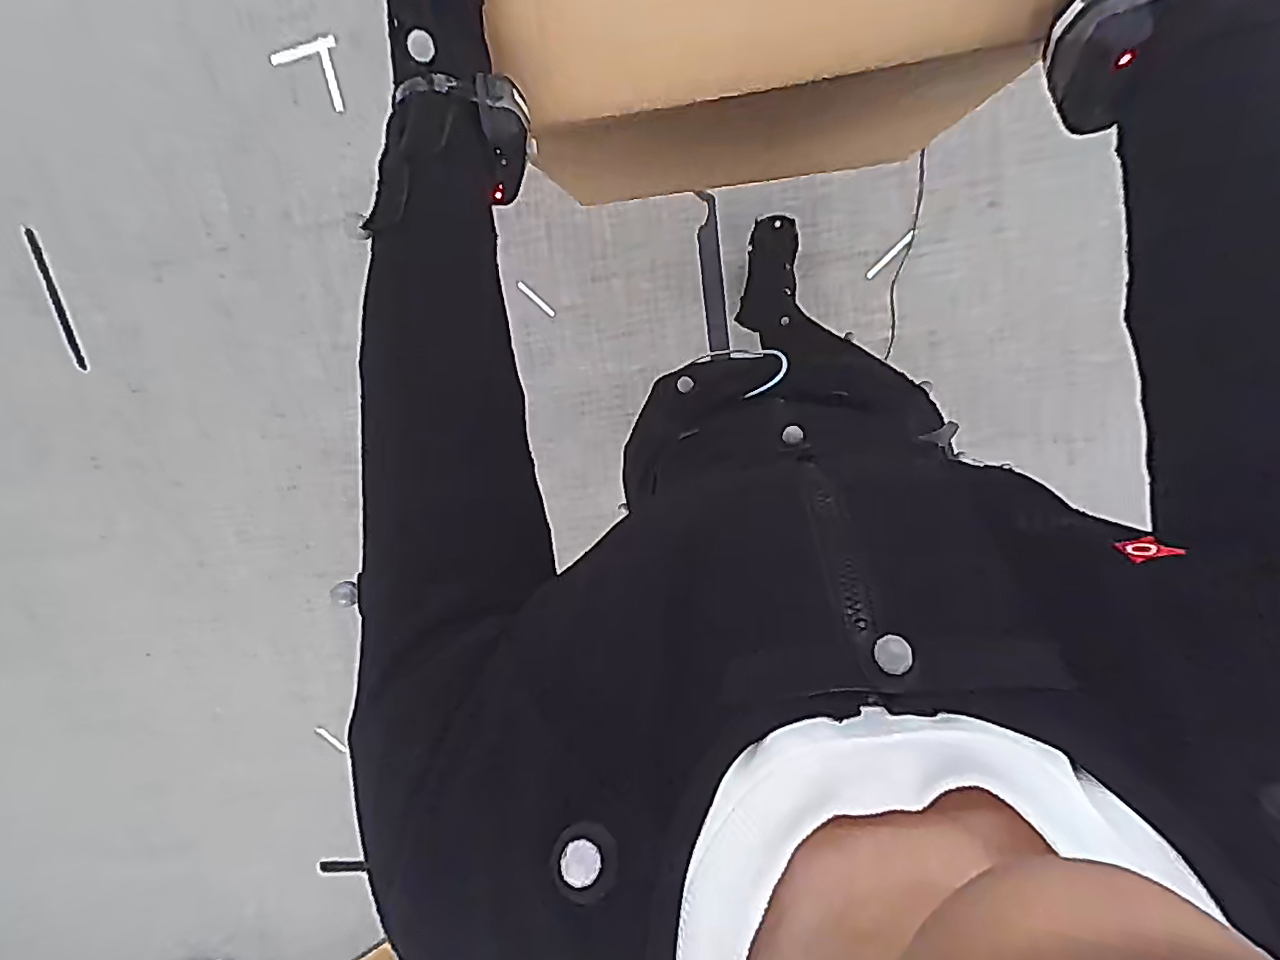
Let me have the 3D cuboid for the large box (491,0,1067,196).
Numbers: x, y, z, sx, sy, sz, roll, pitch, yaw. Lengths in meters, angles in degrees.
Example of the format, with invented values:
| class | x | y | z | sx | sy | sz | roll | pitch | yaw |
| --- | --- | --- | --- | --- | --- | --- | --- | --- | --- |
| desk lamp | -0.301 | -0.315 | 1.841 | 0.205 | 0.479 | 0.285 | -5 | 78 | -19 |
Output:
| class | x | y | z | sx | sy | sz | roll | pitch | yaw |
| --- | --- | --- | --- | --- | --- | --- | --- | --- | --- |
| large box | 0.088 | -0.485 | 0.490 | 0.408 | 0.320 | 0.320 | -5 | 107 | 7 |
